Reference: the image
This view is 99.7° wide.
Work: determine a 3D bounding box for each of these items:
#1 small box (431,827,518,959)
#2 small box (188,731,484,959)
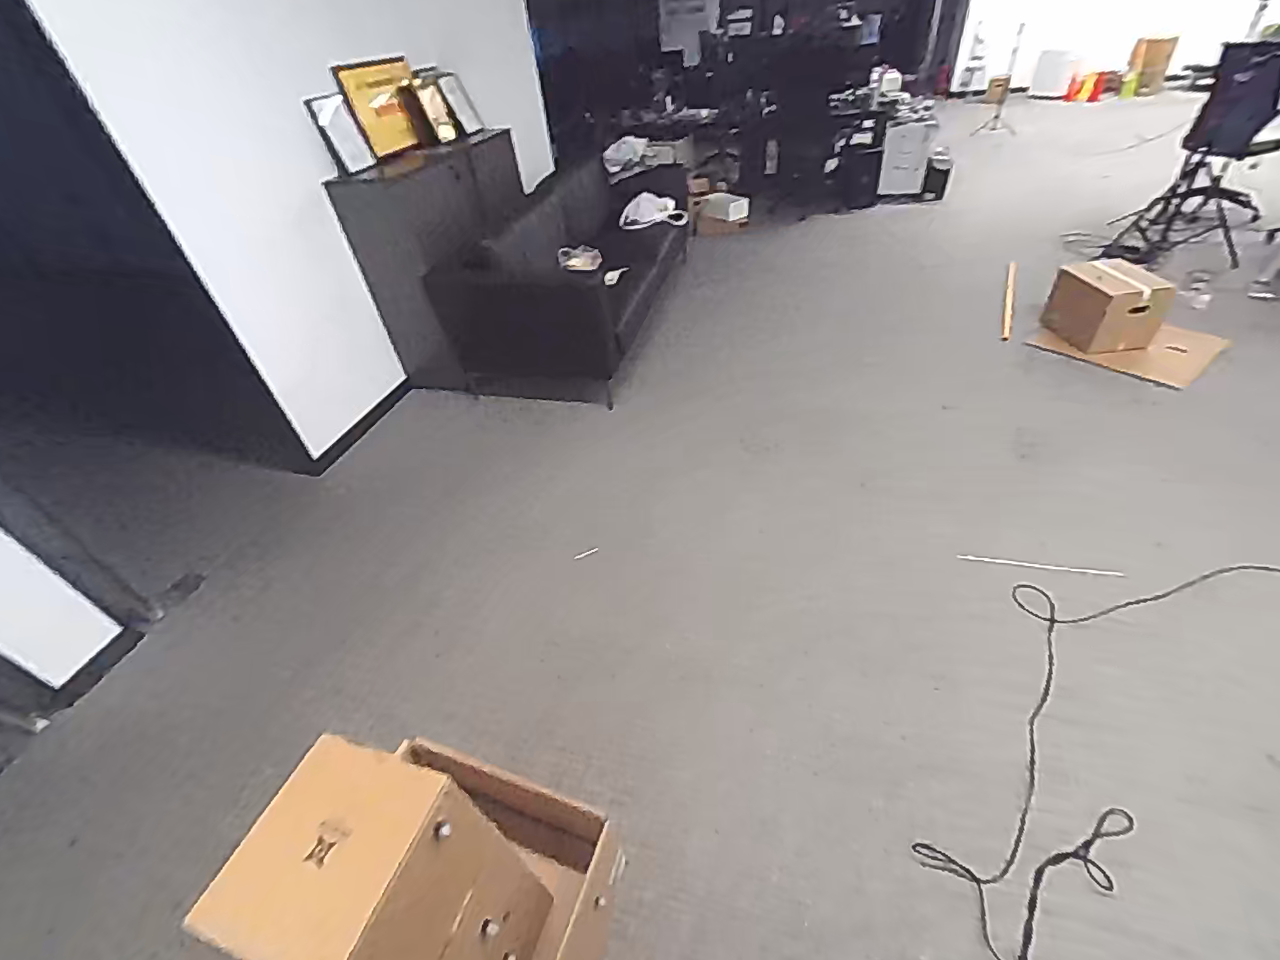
[{"bbox_3d":[-0.273,0.520,0.671,0.179,0.176,0.168,9,43,16],"label":"small box"},{"bbox_3d":[-0.287,0.401,0.560,0.168,0.176,0.179,8,43,17],"label":"small box"}]
